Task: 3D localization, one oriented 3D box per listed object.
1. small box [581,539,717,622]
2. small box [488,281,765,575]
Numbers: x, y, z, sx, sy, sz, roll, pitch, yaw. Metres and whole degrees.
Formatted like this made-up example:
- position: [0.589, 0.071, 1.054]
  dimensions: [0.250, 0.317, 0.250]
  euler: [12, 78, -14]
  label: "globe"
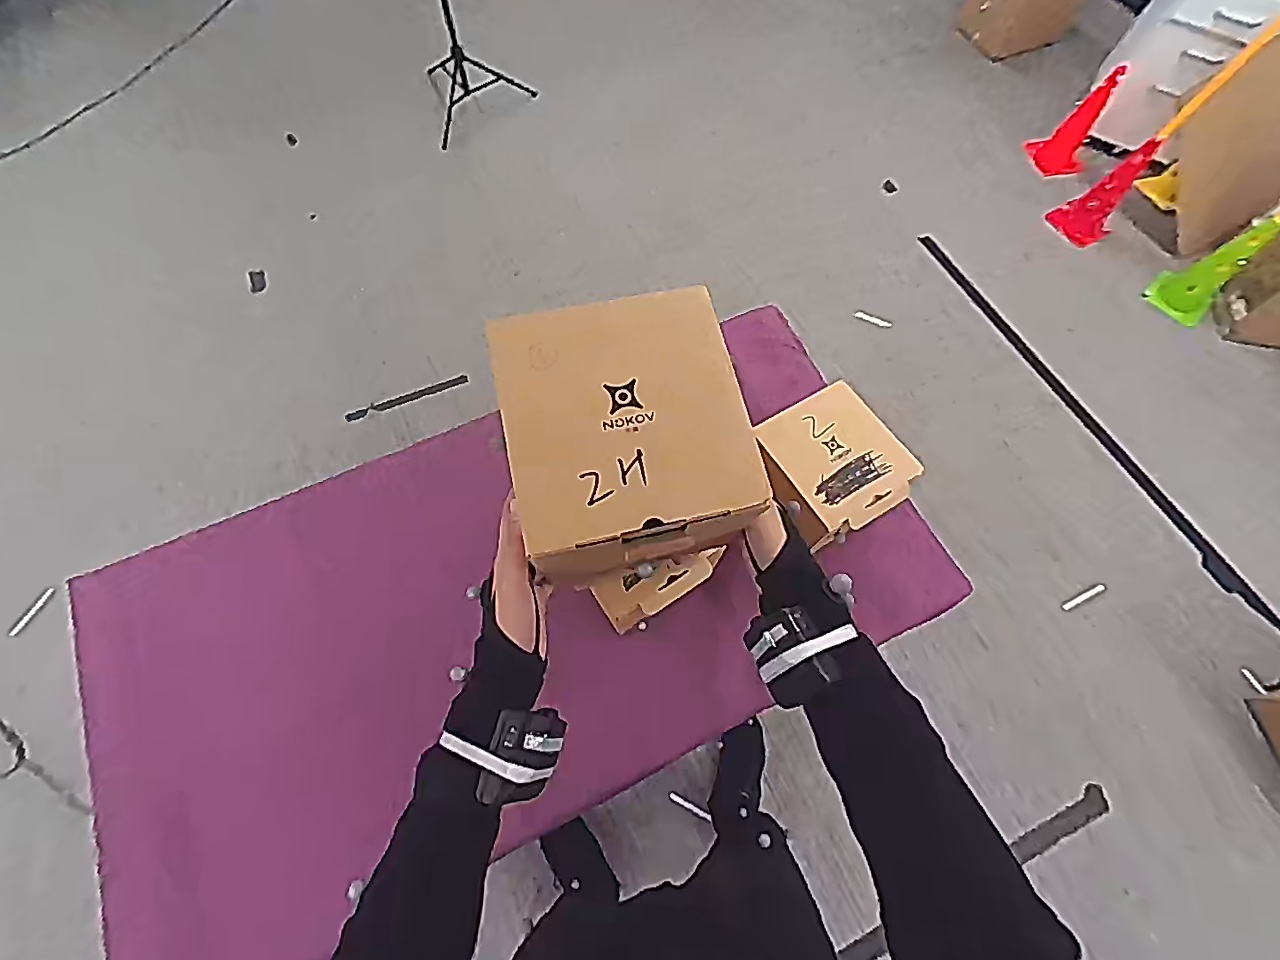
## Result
- position: [-0.014, 0.083, 0.762]
  dimensions: [0.168, 0.176, 0.179]
  euler: [-31, 71, -13]
  label: "small box"
- position: [-0.018, -0.031, 0.448]
  dimensions: [0.168, 0.176, 0.179]
  euler: [-11, 74, -6]
  label: "small box"
